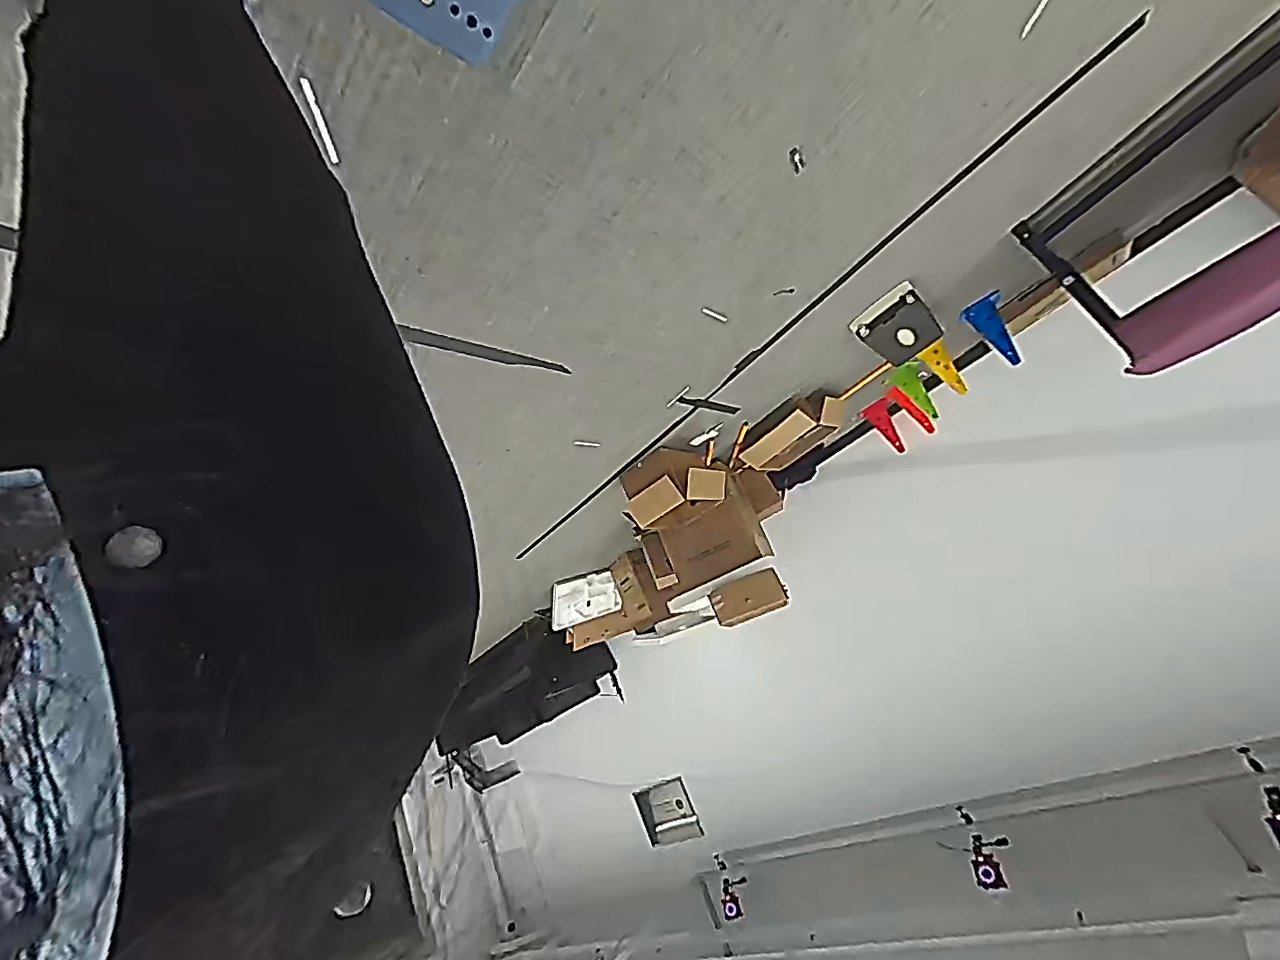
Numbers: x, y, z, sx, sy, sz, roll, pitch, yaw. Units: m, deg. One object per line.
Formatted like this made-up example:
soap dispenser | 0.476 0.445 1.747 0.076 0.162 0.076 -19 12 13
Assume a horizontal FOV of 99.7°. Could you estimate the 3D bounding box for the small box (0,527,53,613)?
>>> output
small box | -1.670 0.239 1.422 0.168 0.176 0.179 -1 148 -49
